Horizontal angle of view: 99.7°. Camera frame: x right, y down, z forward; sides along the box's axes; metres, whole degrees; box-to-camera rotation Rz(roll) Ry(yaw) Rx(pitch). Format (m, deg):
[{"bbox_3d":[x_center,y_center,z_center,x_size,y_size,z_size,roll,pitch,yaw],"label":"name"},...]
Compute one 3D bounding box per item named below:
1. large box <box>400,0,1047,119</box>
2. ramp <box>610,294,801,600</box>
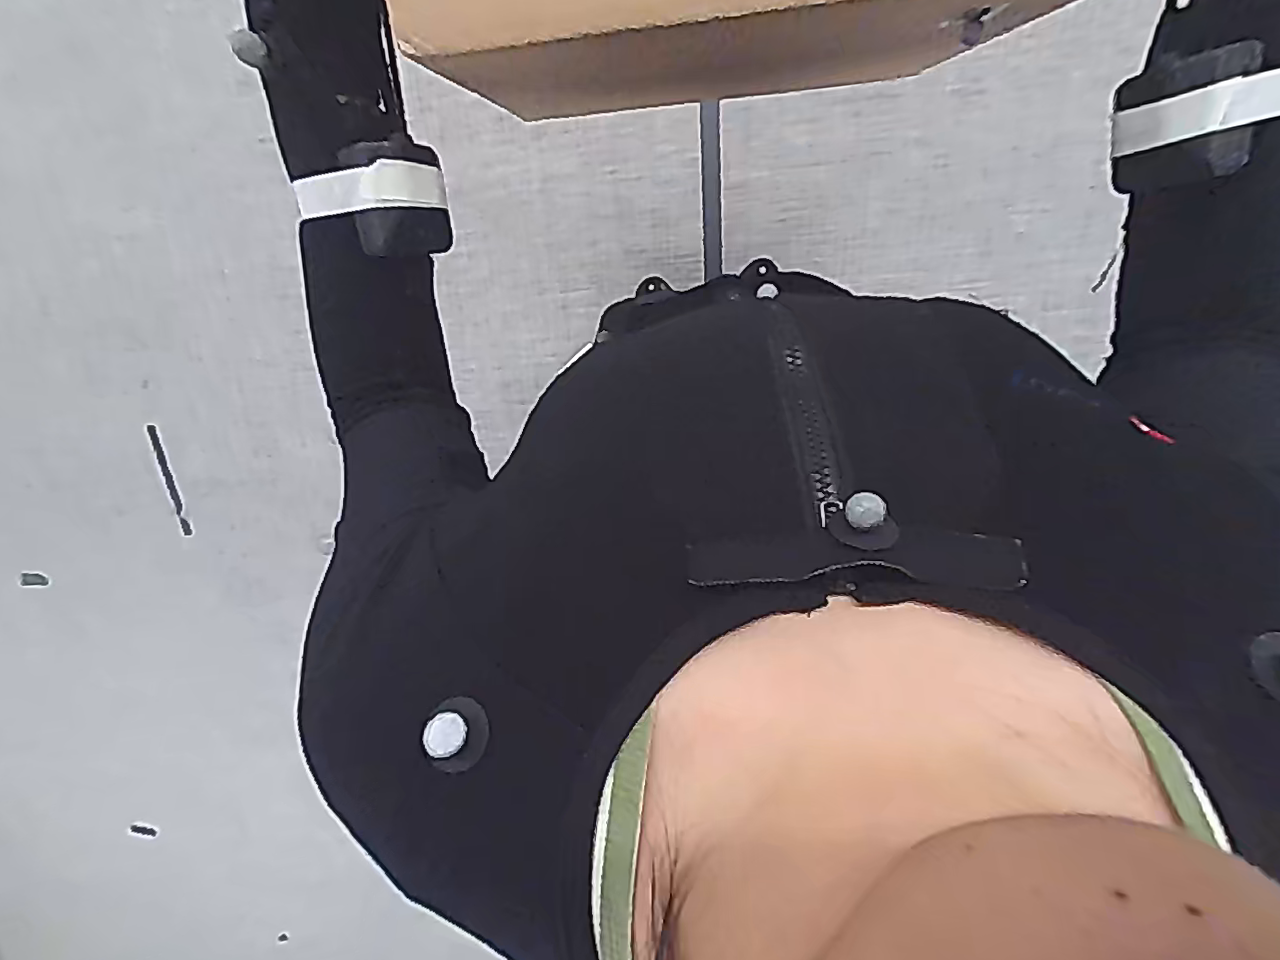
[{"bbox_3d":[0.056,-0.455,0.354,0.408,0.320,0.320,-5,117,3],"label":"large box"},{"bbox_3d":[0.208,-0.026,1.620,0.509,0.206,0.991,-5,110,4],"label":"ramp"}]
